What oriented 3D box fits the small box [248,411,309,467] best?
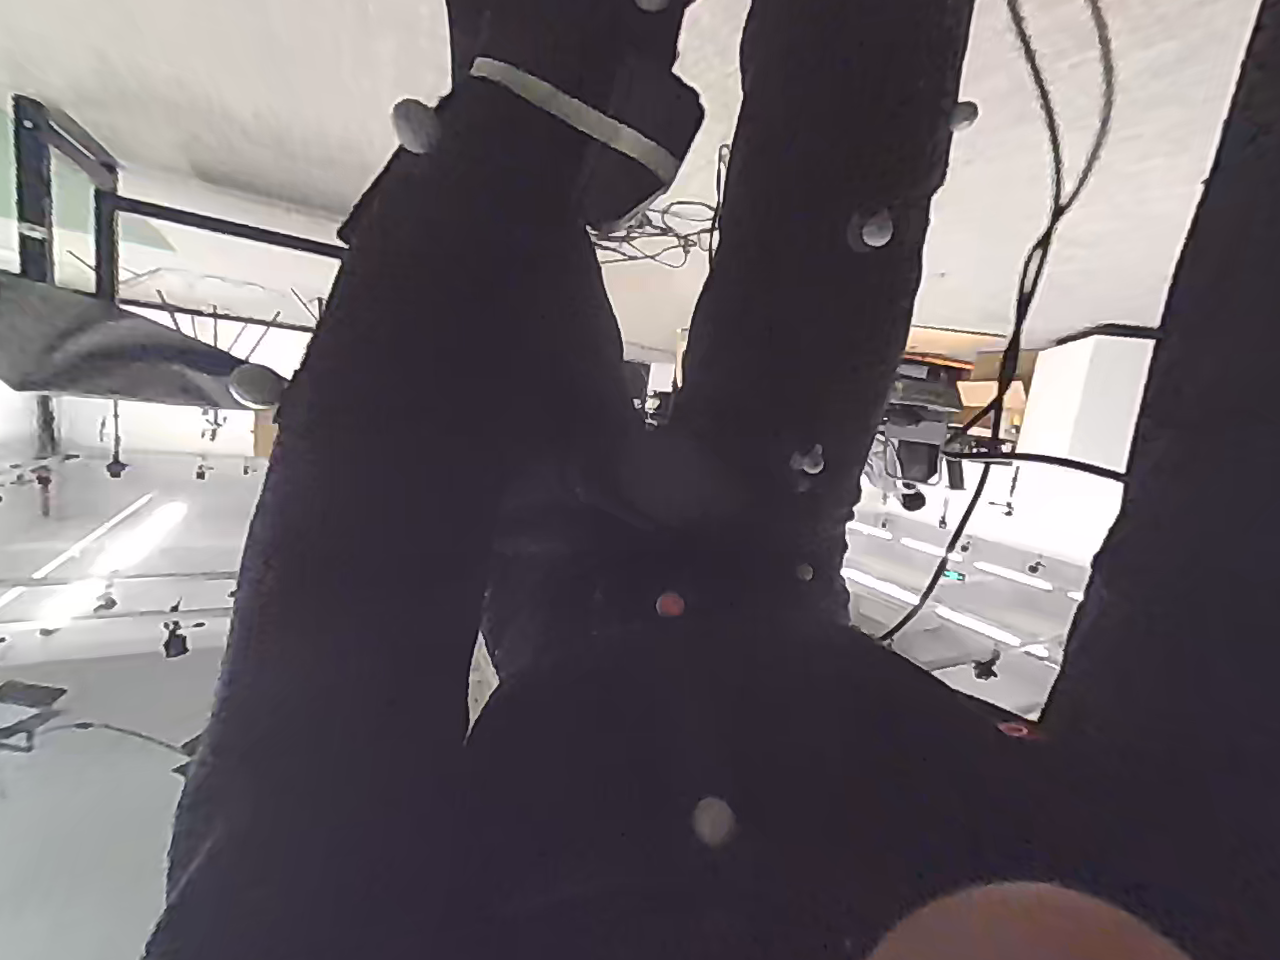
[{"bbox_3d":[-1.225,-0.144,1.837,0.168,0.176,0.179,1,-171,-33],"label":"small box"}]
